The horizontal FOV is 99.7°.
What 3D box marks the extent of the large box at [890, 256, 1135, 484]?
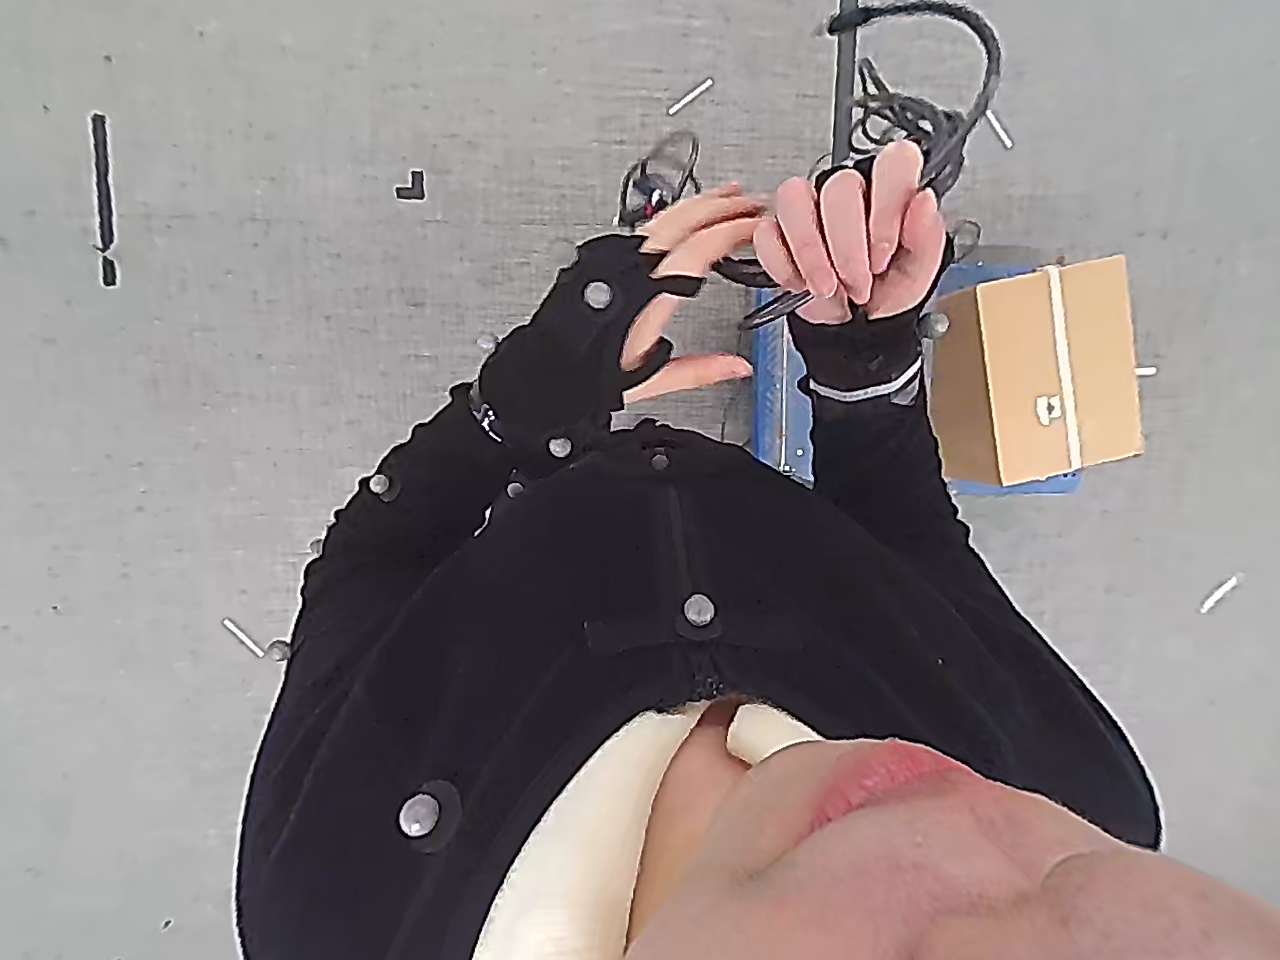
[{"bbox_3d":[0.812,-0.234,1.218,0.320,0.320,0.408,-12,98,-3],"label":"large box"}]
